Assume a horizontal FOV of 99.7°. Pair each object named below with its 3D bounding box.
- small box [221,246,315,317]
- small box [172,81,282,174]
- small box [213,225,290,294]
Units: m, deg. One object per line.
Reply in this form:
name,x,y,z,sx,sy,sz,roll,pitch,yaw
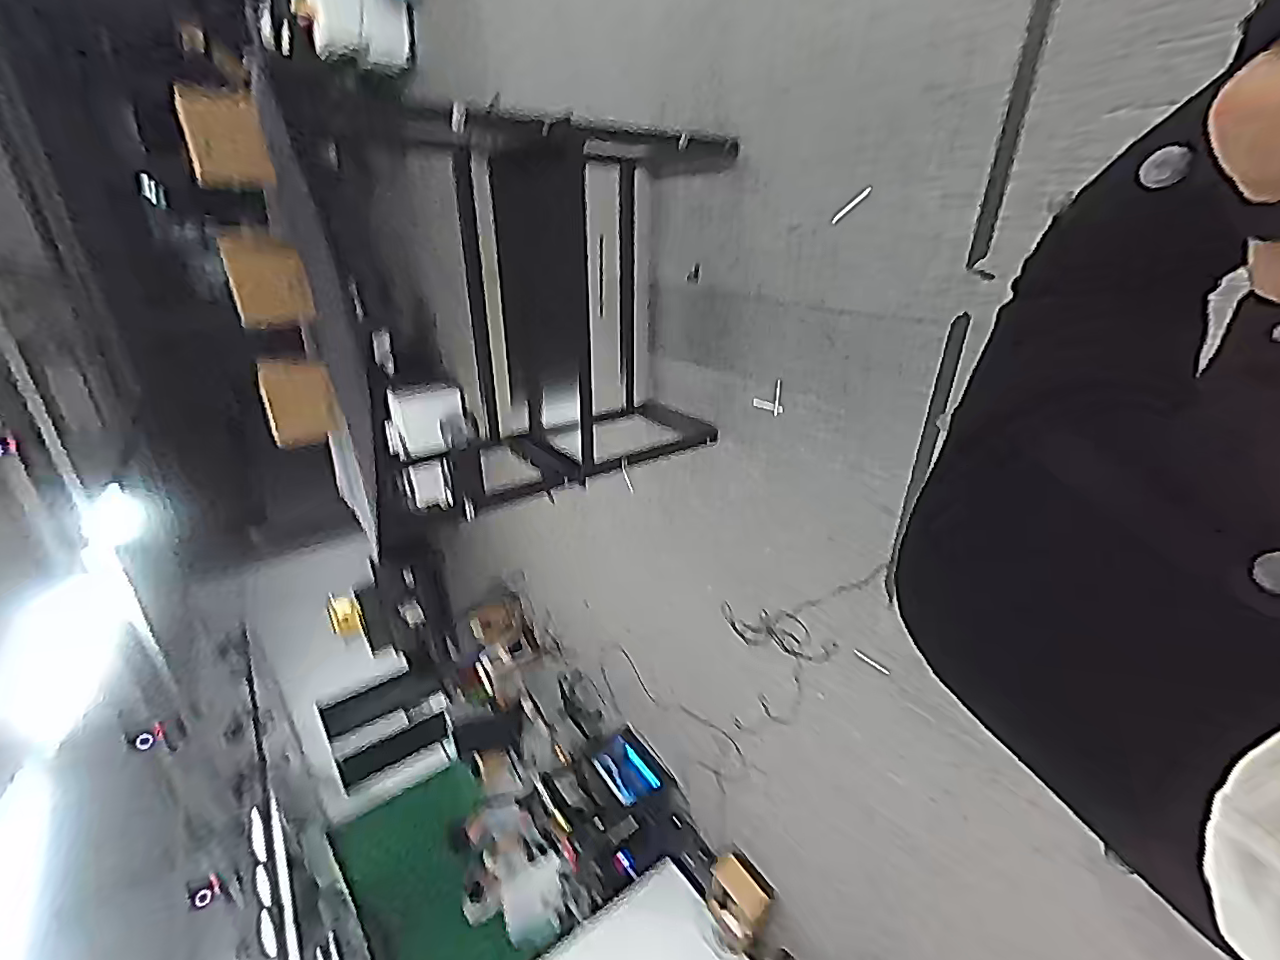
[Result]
small box,-0.978,-0.523,1.428,0.179,0.176,0.168,20,121,50
small box,-0.960,-0.816,1.266,0.179,0.176,0.168,35,133,44
small box,-1.106,-0.637,1.566,0.168,0.176,0.179,33,130,45
